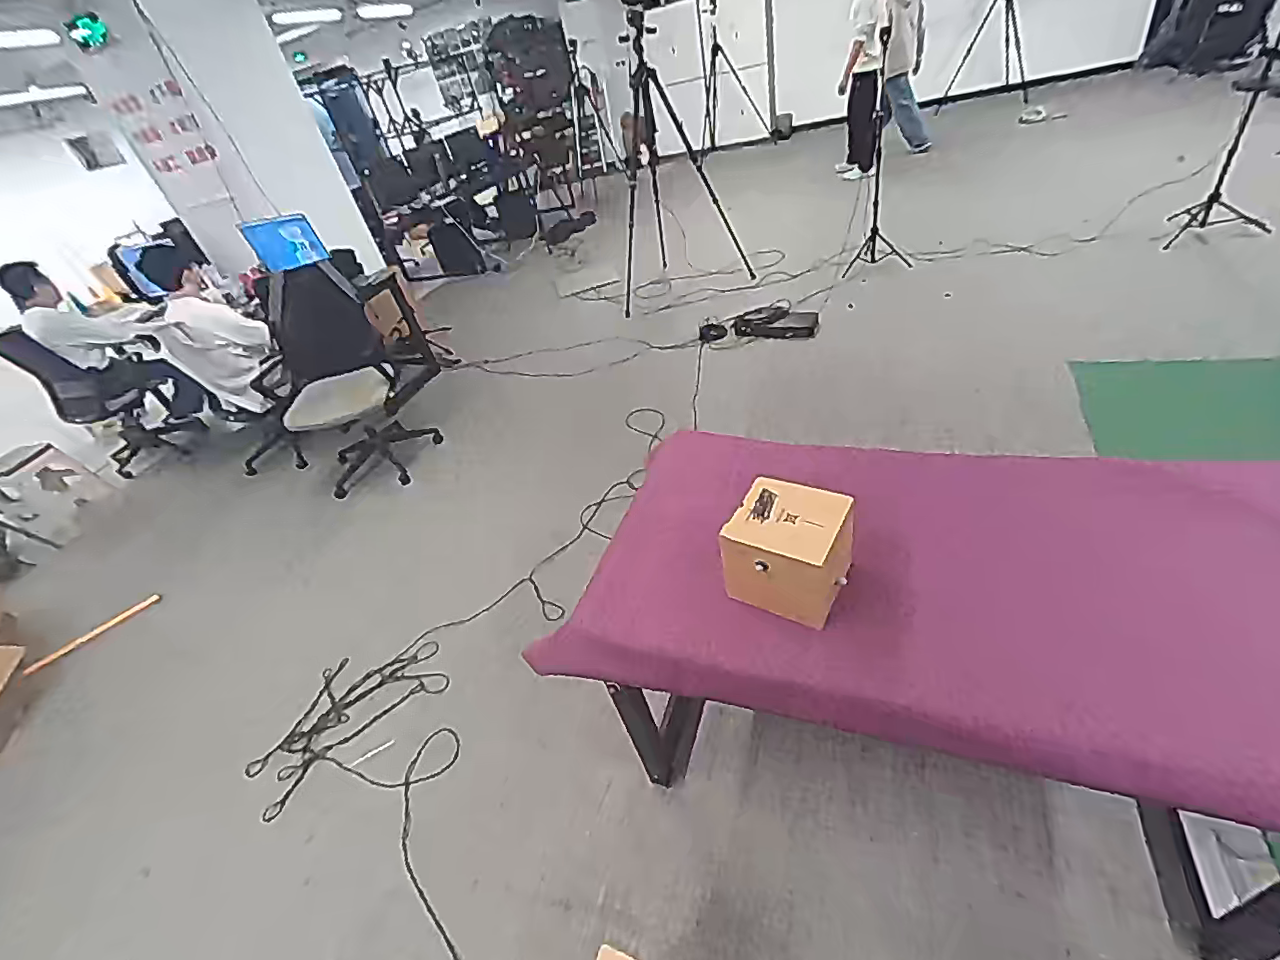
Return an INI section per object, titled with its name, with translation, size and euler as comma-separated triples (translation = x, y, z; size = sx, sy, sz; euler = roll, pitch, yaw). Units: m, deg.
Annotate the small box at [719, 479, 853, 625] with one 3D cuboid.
[small box]
translation = 0.259, 0.126, 0.953
size = 0.179, 0.176, 0.168
euler = 15, 47, 32
